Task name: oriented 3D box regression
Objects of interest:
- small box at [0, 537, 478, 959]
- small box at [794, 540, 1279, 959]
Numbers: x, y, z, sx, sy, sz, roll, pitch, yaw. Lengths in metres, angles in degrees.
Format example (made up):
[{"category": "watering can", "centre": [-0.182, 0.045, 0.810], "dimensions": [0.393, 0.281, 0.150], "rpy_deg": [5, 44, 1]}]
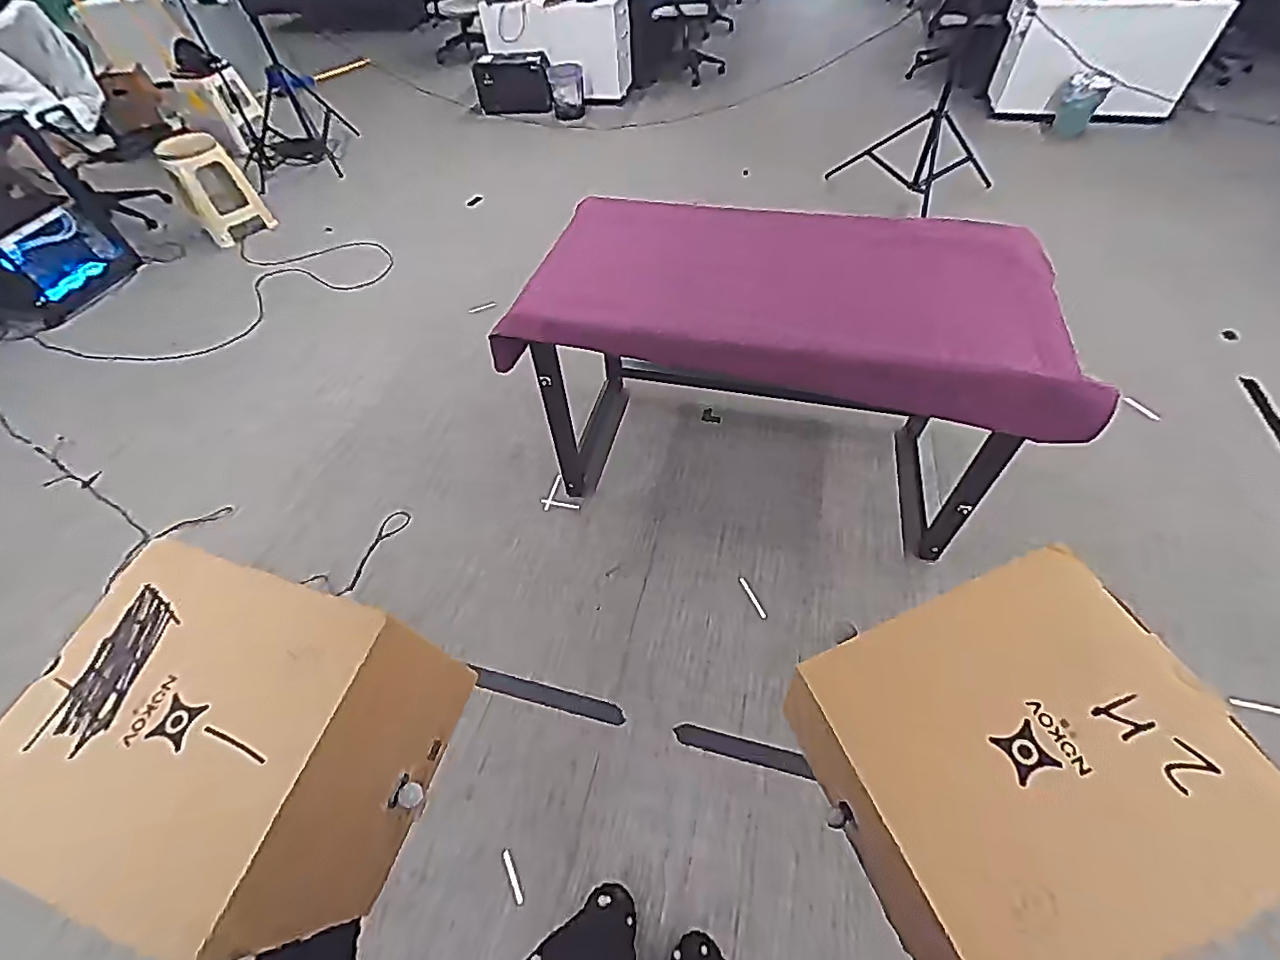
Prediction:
[{"category": "small box", "centre": [-0.238, 0.163, 0.355], "dimensions": [0.179, 0.176, 0.168], "rpy_deg": [14, 61, 11]}, {"category": "small box", "centre": [0.211, 0.171, 0.338], "dimensions": [0.179, 0.176, 0.168], "rpy_deg": [-24, 59, -4]}]
